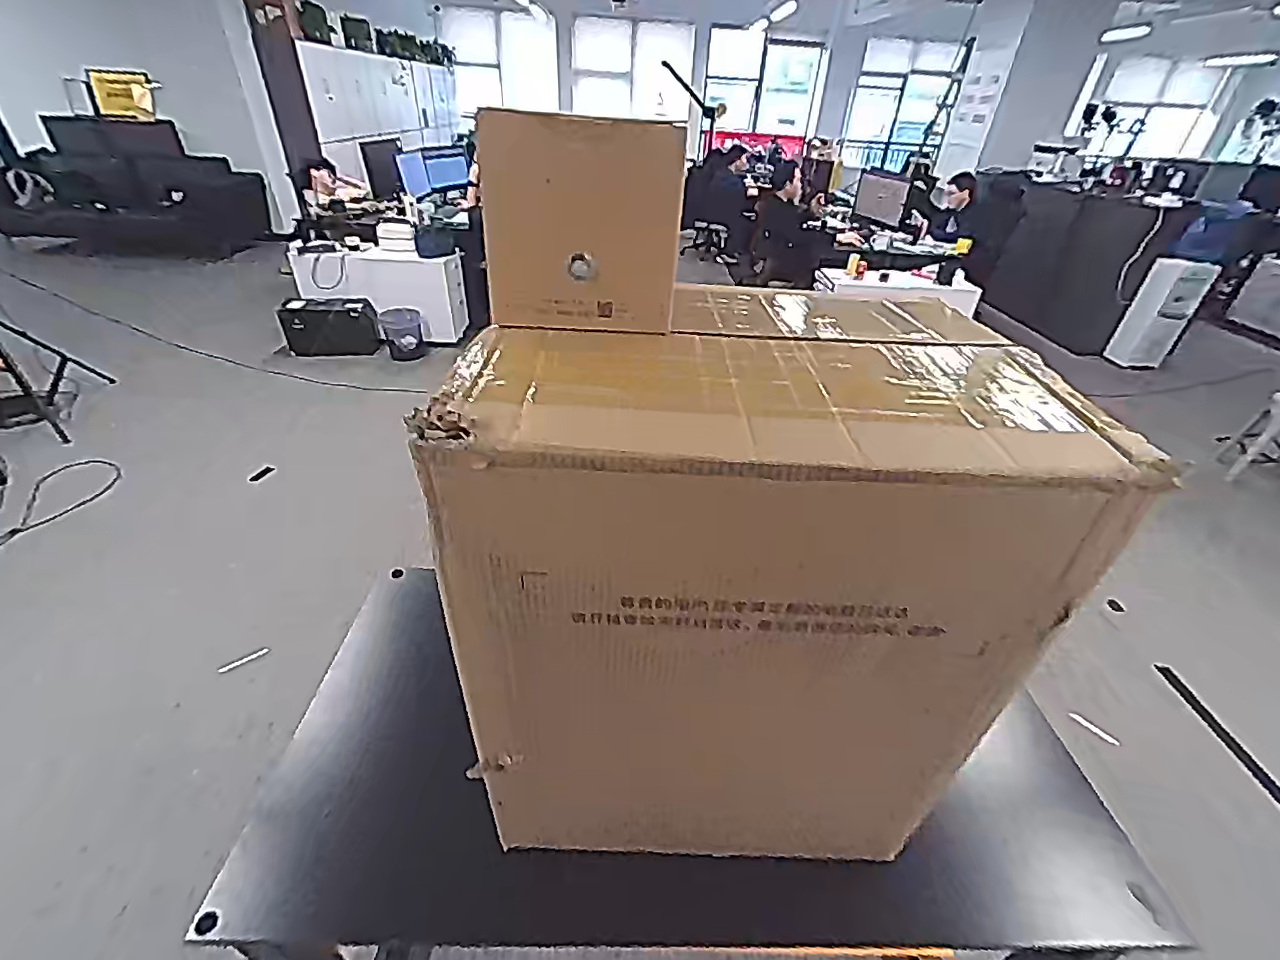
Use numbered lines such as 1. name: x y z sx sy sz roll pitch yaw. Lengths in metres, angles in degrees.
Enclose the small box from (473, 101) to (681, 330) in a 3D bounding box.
1. small box: -0.056 -0.258 0.529 0.168 0.176 0.179 1 33 -4
